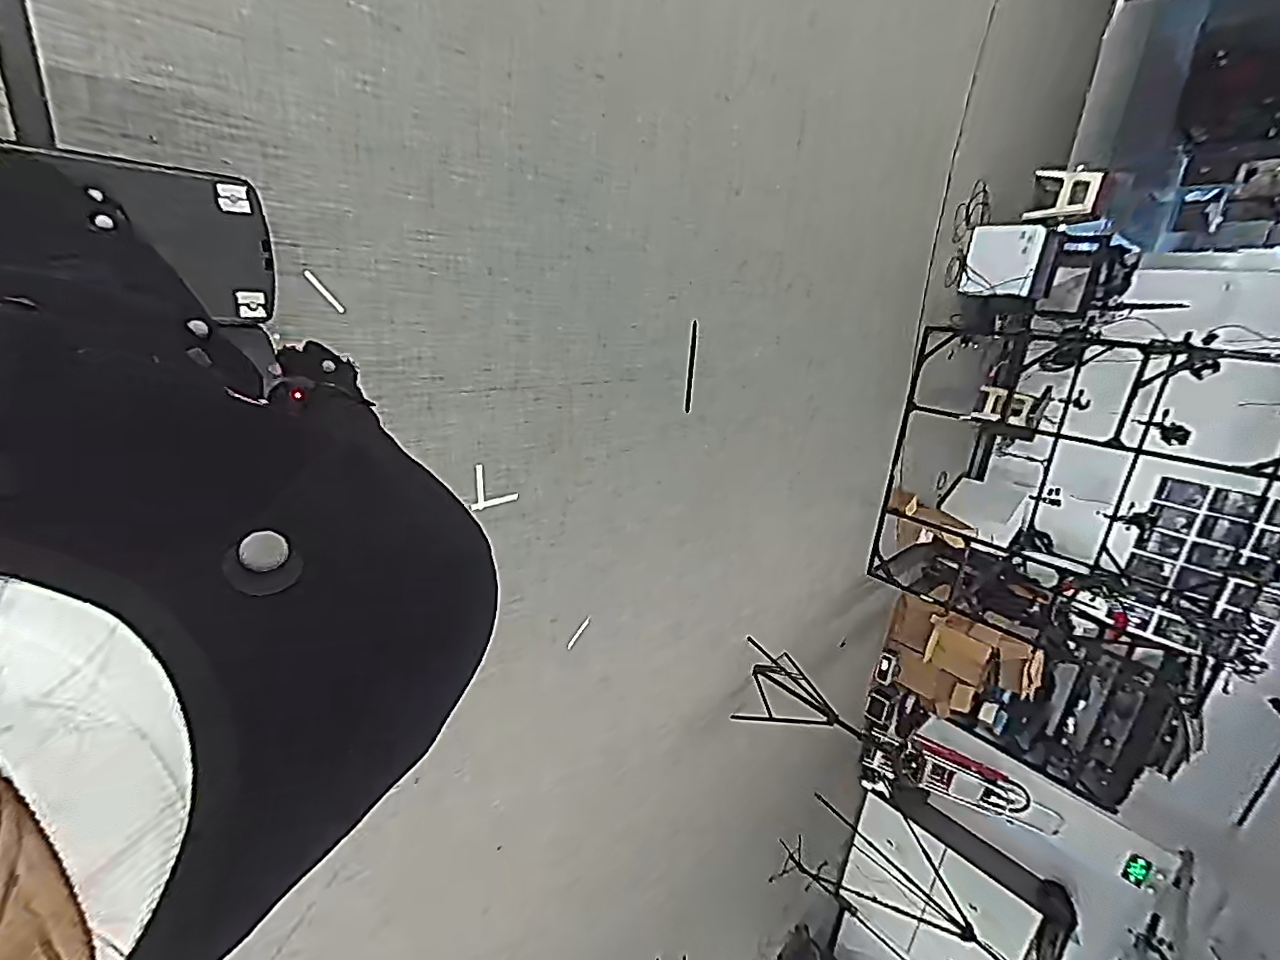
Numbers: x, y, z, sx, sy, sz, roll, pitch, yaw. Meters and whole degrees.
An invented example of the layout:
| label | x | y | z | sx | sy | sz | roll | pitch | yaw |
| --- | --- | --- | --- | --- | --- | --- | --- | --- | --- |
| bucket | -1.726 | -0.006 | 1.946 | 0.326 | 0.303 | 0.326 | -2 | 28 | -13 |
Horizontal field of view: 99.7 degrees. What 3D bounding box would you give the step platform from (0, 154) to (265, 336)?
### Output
| label | x | y | z | sx | sy | sz | roll | pitch | yaw |
| --- | --- | --- | --- | --- | --- | --- | --- | --- | --- |
| step platform | -1.072 | -0.405 | 0.944 | 0.684 | 0.204 | 0.286 | -14 | 118 | -42 |
